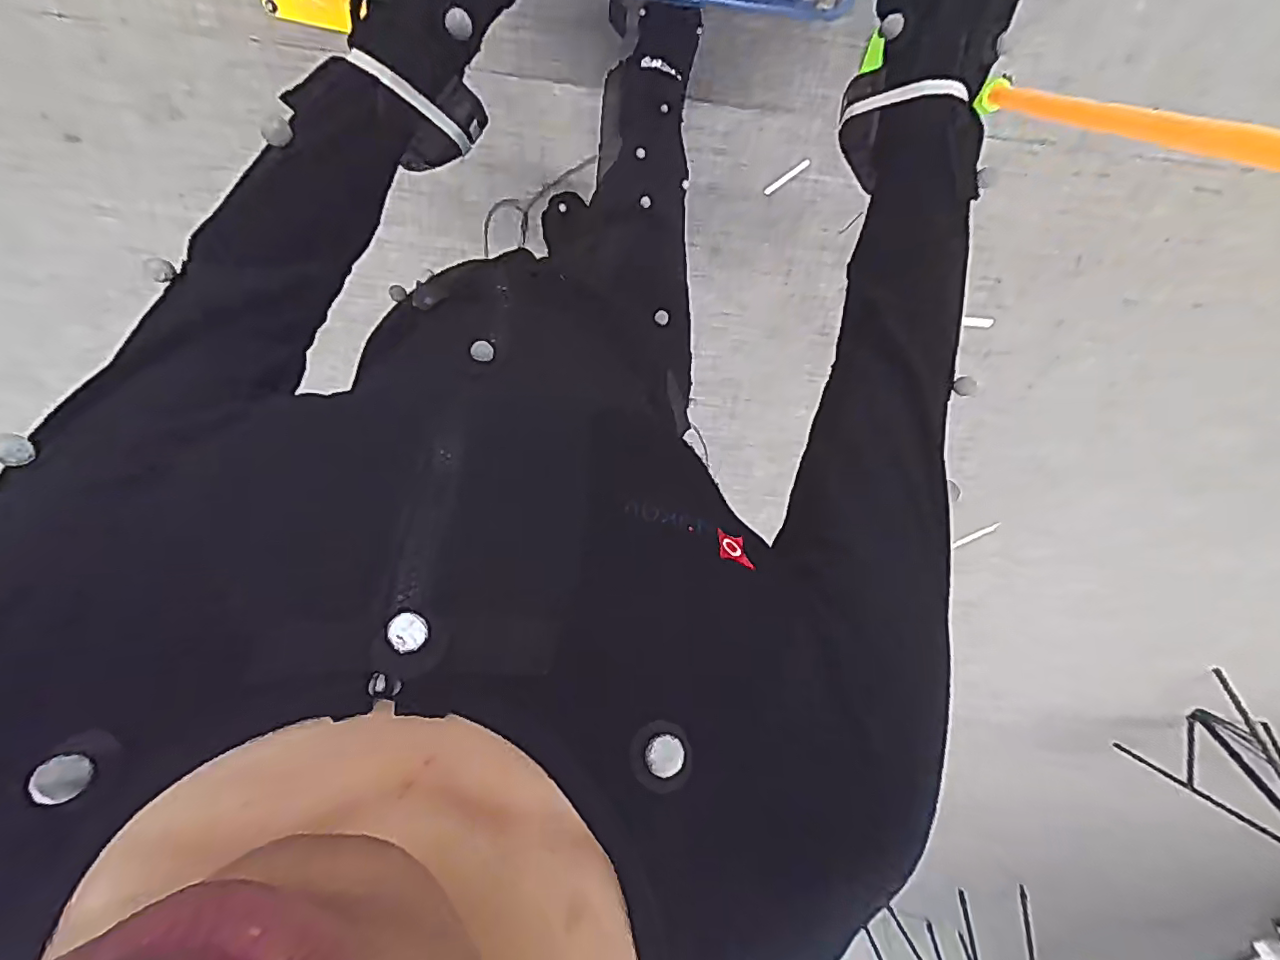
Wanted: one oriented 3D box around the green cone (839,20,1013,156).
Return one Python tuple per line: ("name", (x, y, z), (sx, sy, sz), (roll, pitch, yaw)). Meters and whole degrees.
("green cone", (0.531, -0.684, 0.957), (0.202, 0.368, 0.200), (8, 126, -7))
